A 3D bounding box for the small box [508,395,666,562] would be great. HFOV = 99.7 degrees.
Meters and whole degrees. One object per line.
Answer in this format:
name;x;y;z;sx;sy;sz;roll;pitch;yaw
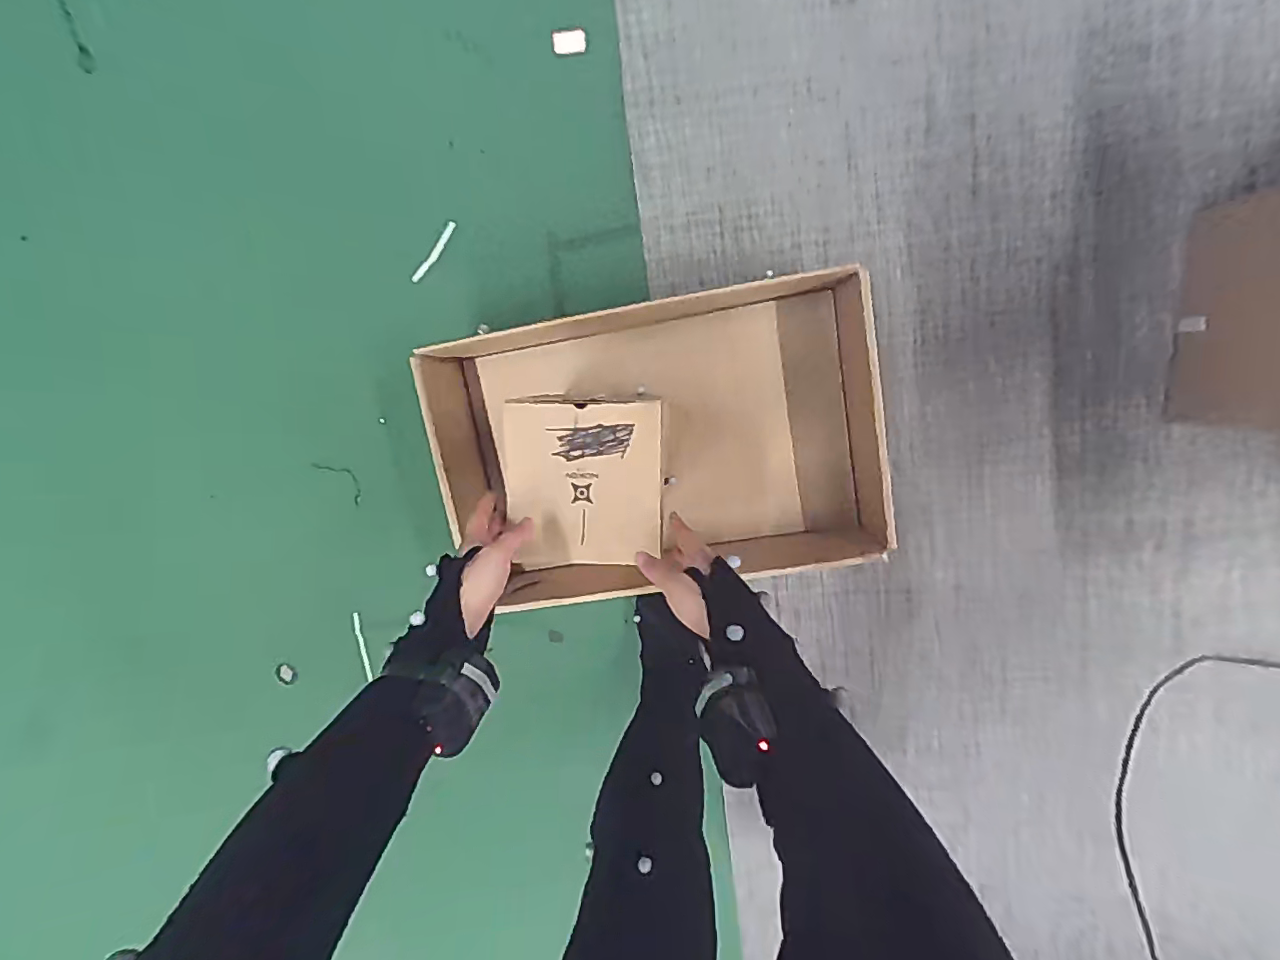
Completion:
small box;-0.053;-0.012;0.651;0.168;0.176;0.179;0;102;4
